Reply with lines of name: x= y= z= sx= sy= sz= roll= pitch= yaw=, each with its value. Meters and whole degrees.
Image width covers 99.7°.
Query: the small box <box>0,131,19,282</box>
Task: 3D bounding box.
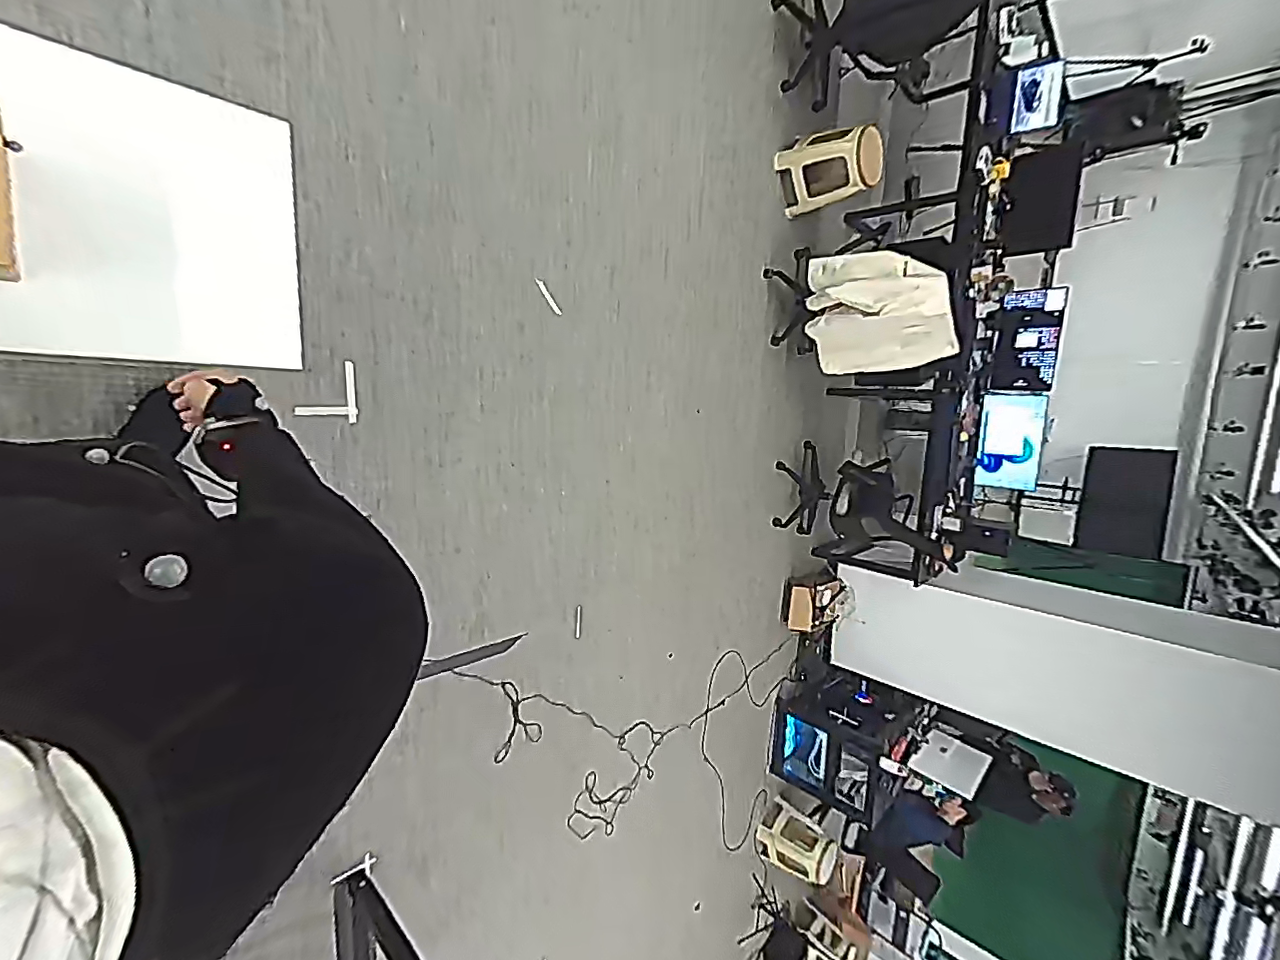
small box: x=-0.792 y=-0.319 z=0.572 sx=0.168 sy=0.176 sz=0.179 roll=-6 pitch=101 yaw=-47
